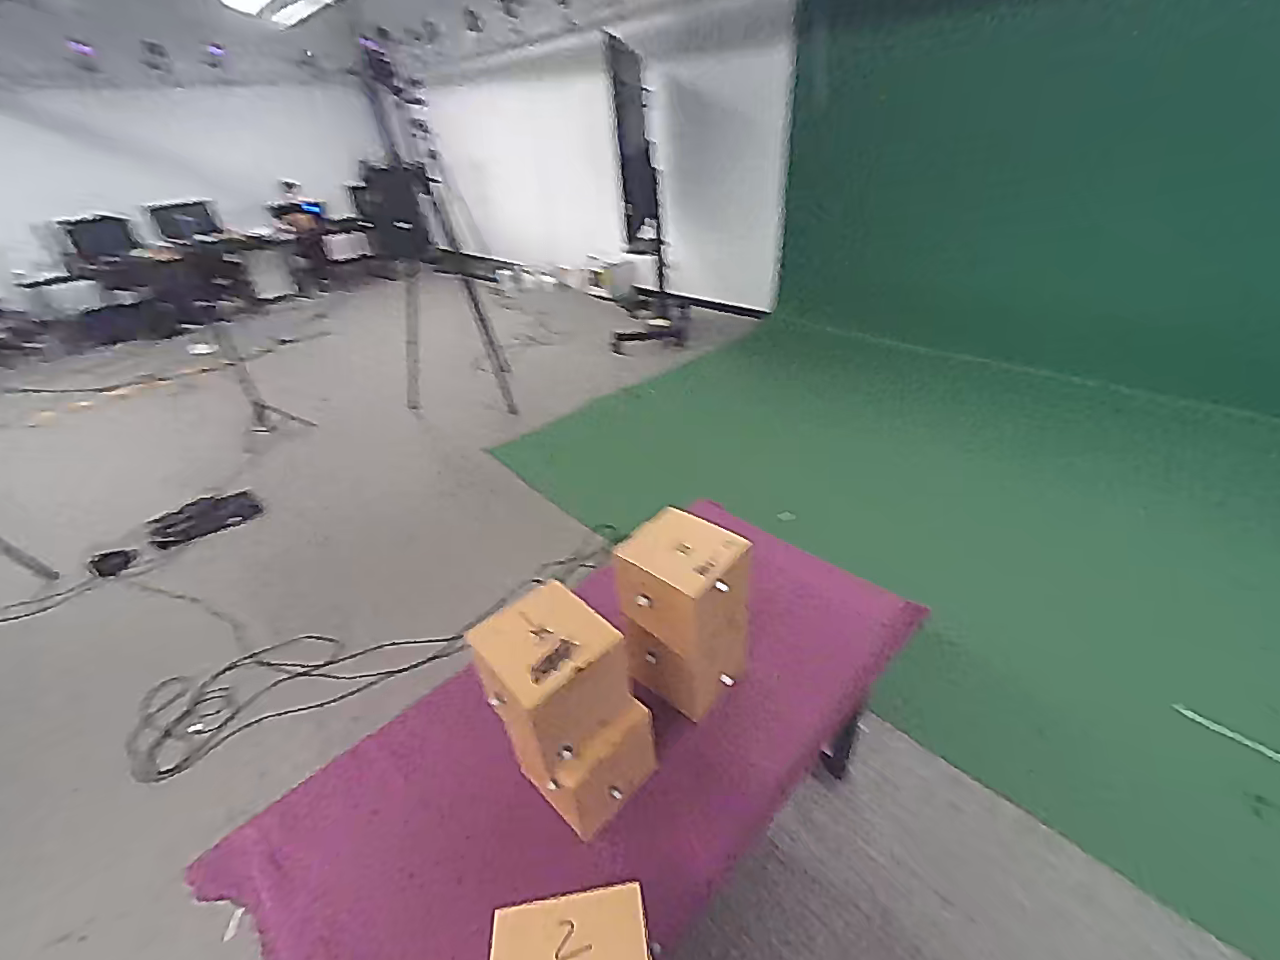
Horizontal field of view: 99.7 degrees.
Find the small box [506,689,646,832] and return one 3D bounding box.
[{"bbox_3d":[-0.106,0.432,0.899,0.179,0.176,0.168,25,44,36],"label":"small box"}]

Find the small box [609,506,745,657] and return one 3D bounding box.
[{"bbox_3d":[0.068,0.178,0.959,0.179,0.176,0.168,22,42,35],"label":"small box"}]

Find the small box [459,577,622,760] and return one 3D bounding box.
[{"bbox_3d":[-0.143,0.288,0.822,0.168,0.176,0.179,-30,41,-33],"label":"small box"}]

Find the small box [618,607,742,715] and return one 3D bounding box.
[{"bbox_3d":[0.079,0.314,1.049,0.179,0.176,0.168,24,43,35],"label":"small box"}]
